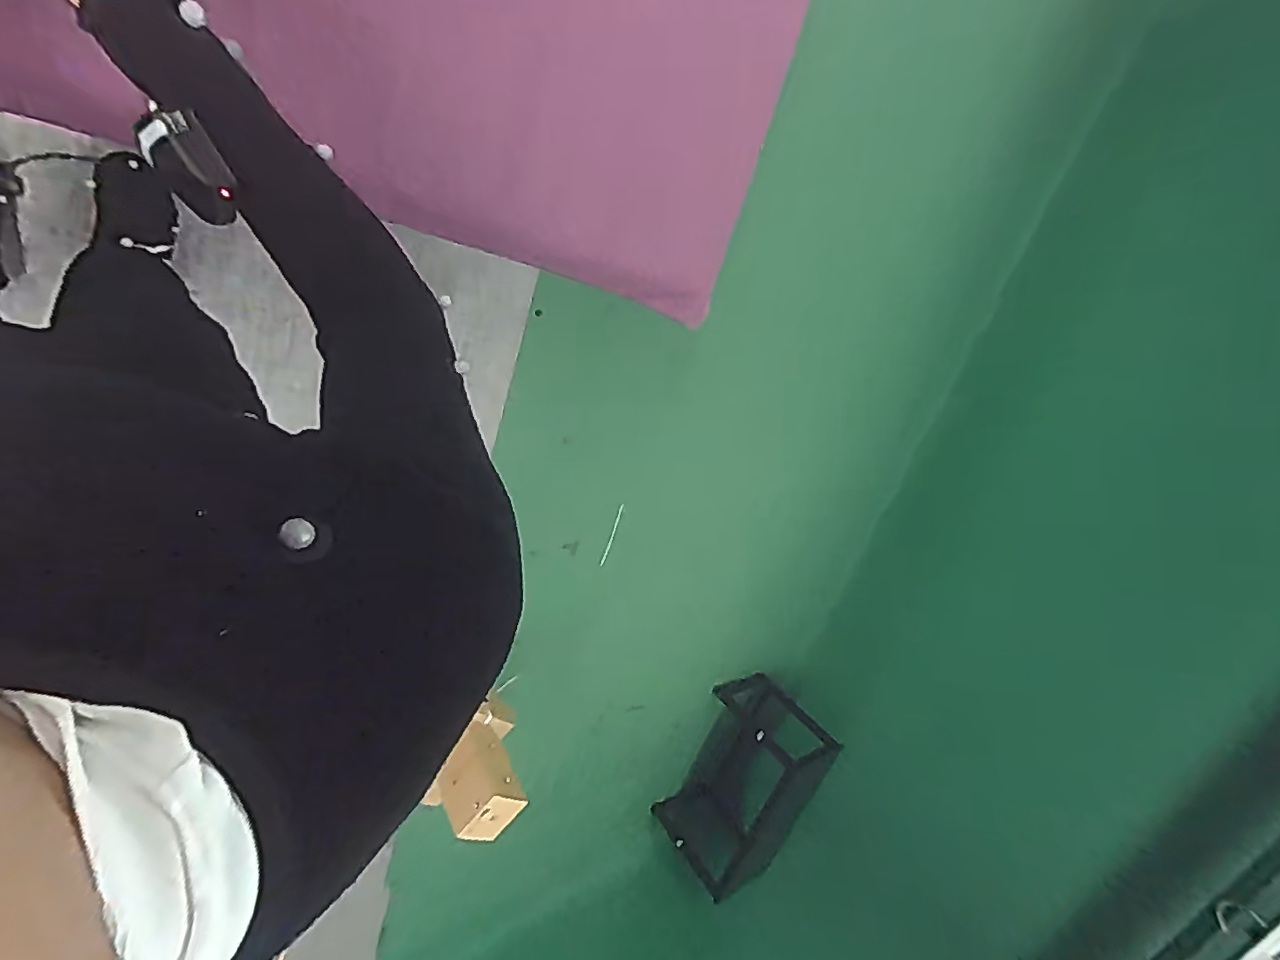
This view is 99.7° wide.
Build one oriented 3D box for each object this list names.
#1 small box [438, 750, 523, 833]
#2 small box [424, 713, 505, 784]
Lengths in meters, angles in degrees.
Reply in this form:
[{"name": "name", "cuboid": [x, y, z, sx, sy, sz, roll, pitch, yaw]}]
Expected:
[{"name": "small box", "cuboid": [-0.520, 1.012, 1.762, 0.168, 0.176, 0.179, -46, 138, -6]}, {"name": "small box", "cuboid": [-0.612, 0.943, 1.880, 0.168, 0.176, 0.179, -46, 137, -7]}]
